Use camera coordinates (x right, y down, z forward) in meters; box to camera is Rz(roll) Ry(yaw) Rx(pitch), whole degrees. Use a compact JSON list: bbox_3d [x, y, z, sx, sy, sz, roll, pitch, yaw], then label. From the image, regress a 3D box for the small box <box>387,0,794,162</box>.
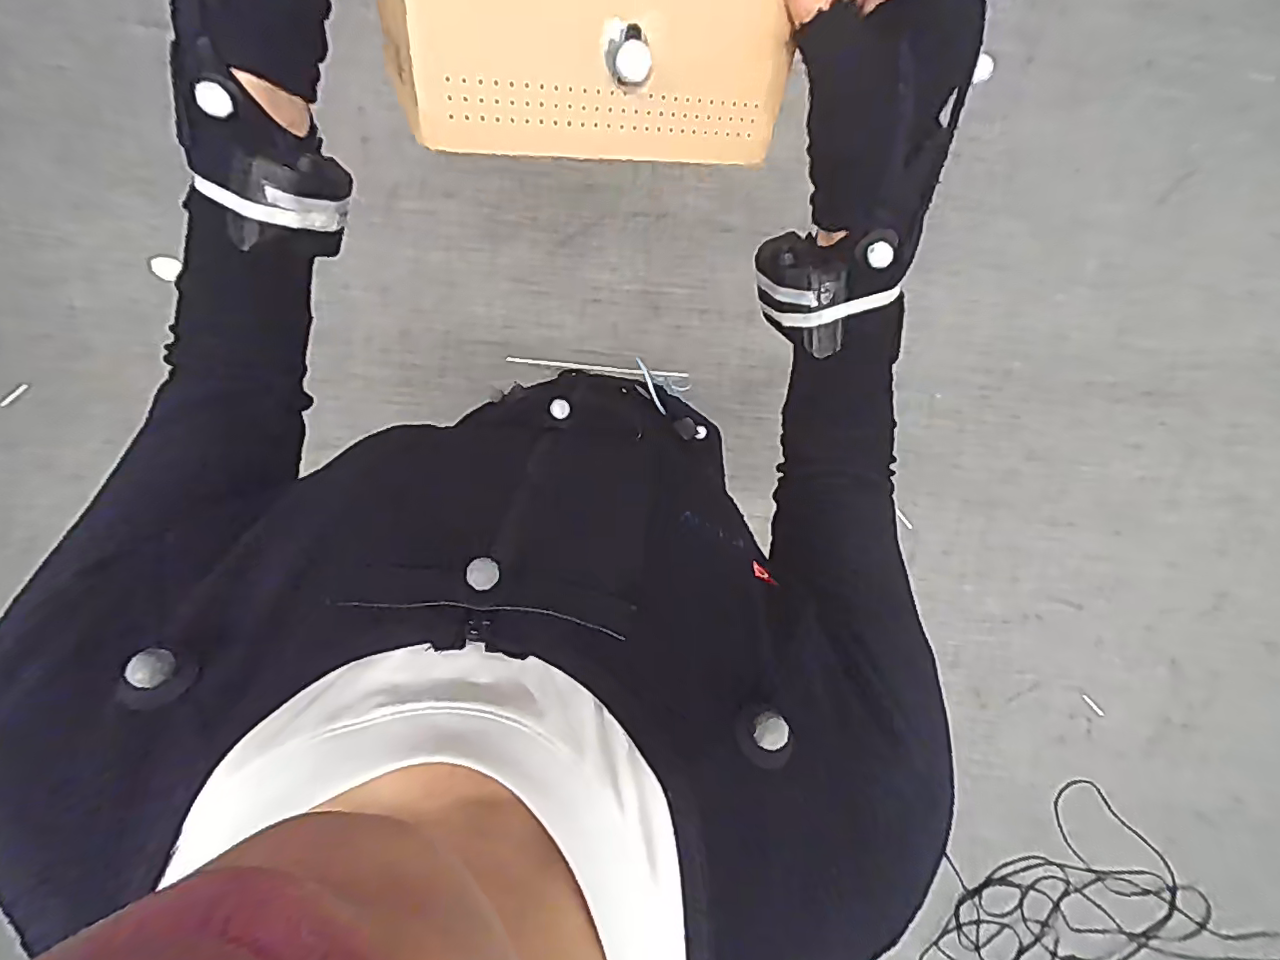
[{"bbox_3d":[-0.030,-0.272,0.261,0.179,0.168,0.176,-10,138,-22],"label":"small box"}]
